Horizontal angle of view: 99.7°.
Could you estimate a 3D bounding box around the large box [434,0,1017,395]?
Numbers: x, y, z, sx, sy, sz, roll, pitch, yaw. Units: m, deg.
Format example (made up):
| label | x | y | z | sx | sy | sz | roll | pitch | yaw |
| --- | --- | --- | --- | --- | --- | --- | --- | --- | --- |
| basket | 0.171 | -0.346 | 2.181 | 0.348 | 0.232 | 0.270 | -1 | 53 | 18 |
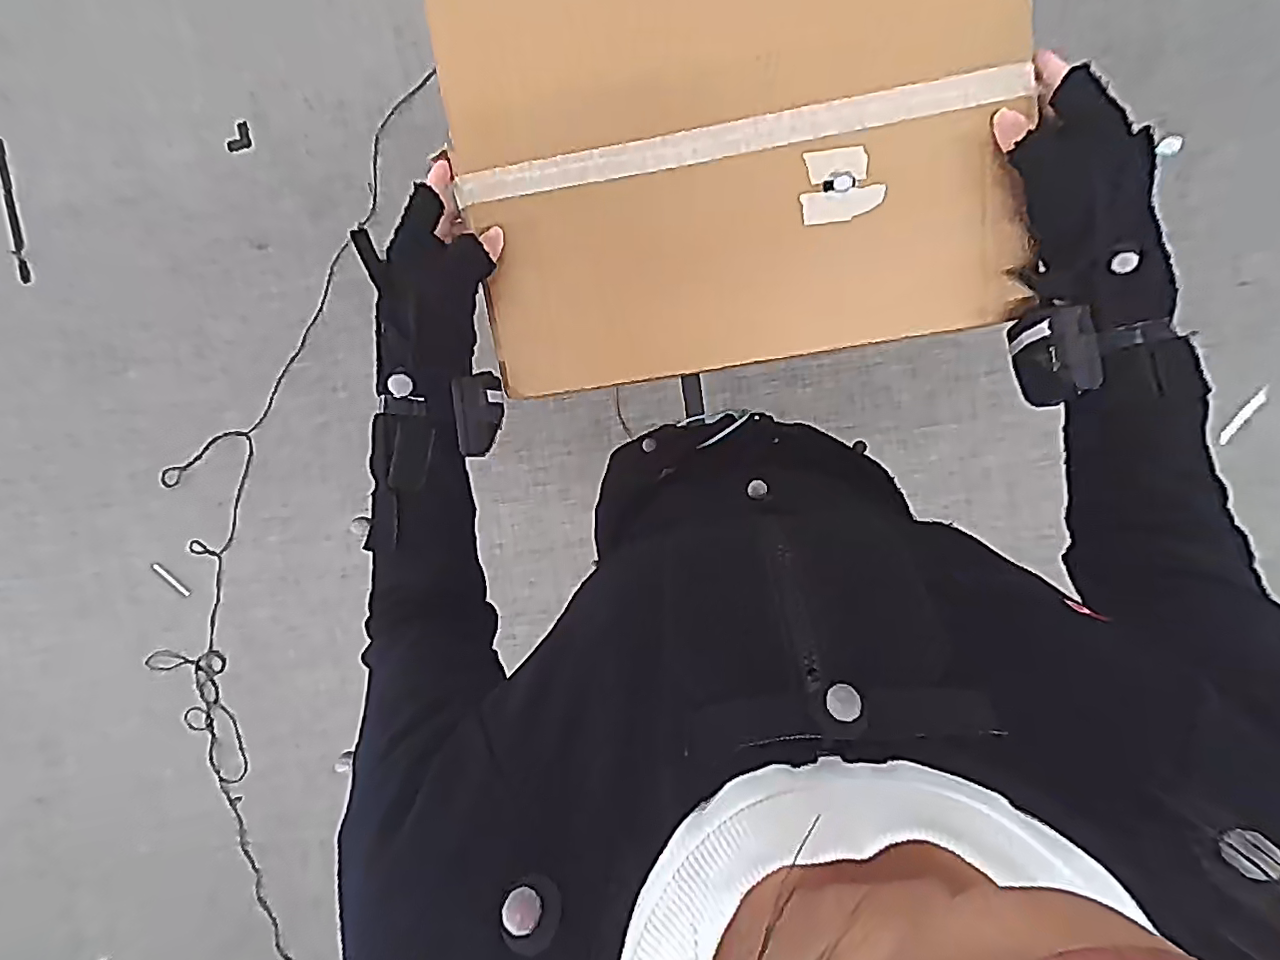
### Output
| label | x | y | z | sx | sy | sz | roll | pitch | yaw |
| --- | --- | --- | --- | --- | --- | --- | --- | --- | --- |
| large box | 0.073 | -0.277 | 0.546 | 0.408 | 0.320 | 0.320 | -9 | 102 | 4 |
